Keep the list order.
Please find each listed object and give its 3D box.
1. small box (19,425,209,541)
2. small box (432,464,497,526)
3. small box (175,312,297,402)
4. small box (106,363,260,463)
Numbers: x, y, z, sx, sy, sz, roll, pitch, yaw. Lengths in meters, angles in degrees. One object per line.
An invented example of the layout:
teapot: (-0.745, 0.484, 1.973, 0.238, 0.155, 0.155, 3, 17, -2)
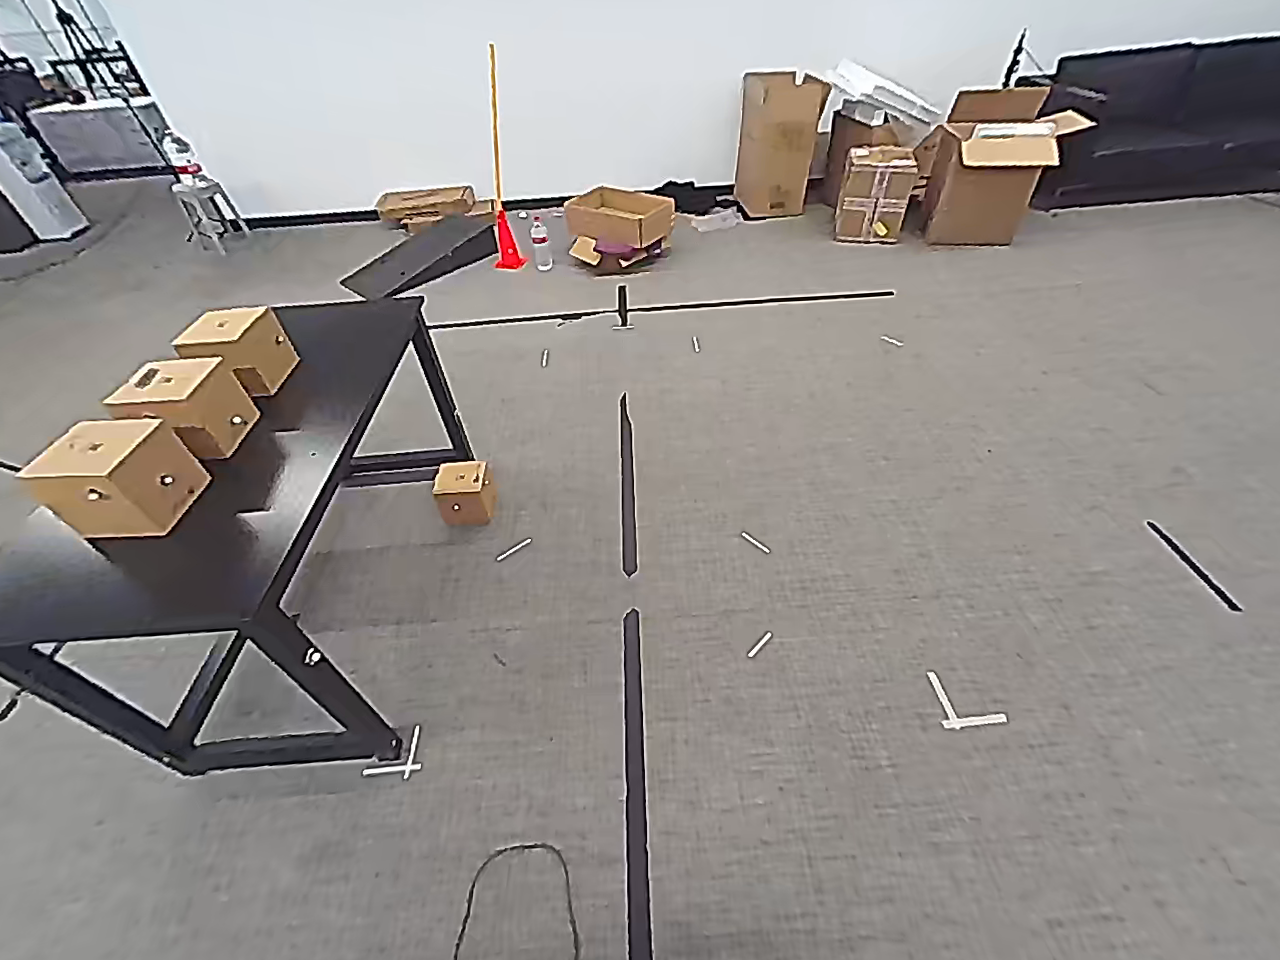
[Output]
small box: (-1.027, 0.008, 1.080, 0.179, 0.176, 0.168, -2, 44, 2)
small box: (-0.657, 0.061, 2.043, 0.179, 0.176, 0.168, -5, 45, 0)
small box: (-1.045, -0.319, 1.421, 0.168, 0.176, 0.179, -6, 44, 1)
small box: (-1.032, -0.148, 1.241, 0.179, 0.176, 0.168, -4, 44, -2)
